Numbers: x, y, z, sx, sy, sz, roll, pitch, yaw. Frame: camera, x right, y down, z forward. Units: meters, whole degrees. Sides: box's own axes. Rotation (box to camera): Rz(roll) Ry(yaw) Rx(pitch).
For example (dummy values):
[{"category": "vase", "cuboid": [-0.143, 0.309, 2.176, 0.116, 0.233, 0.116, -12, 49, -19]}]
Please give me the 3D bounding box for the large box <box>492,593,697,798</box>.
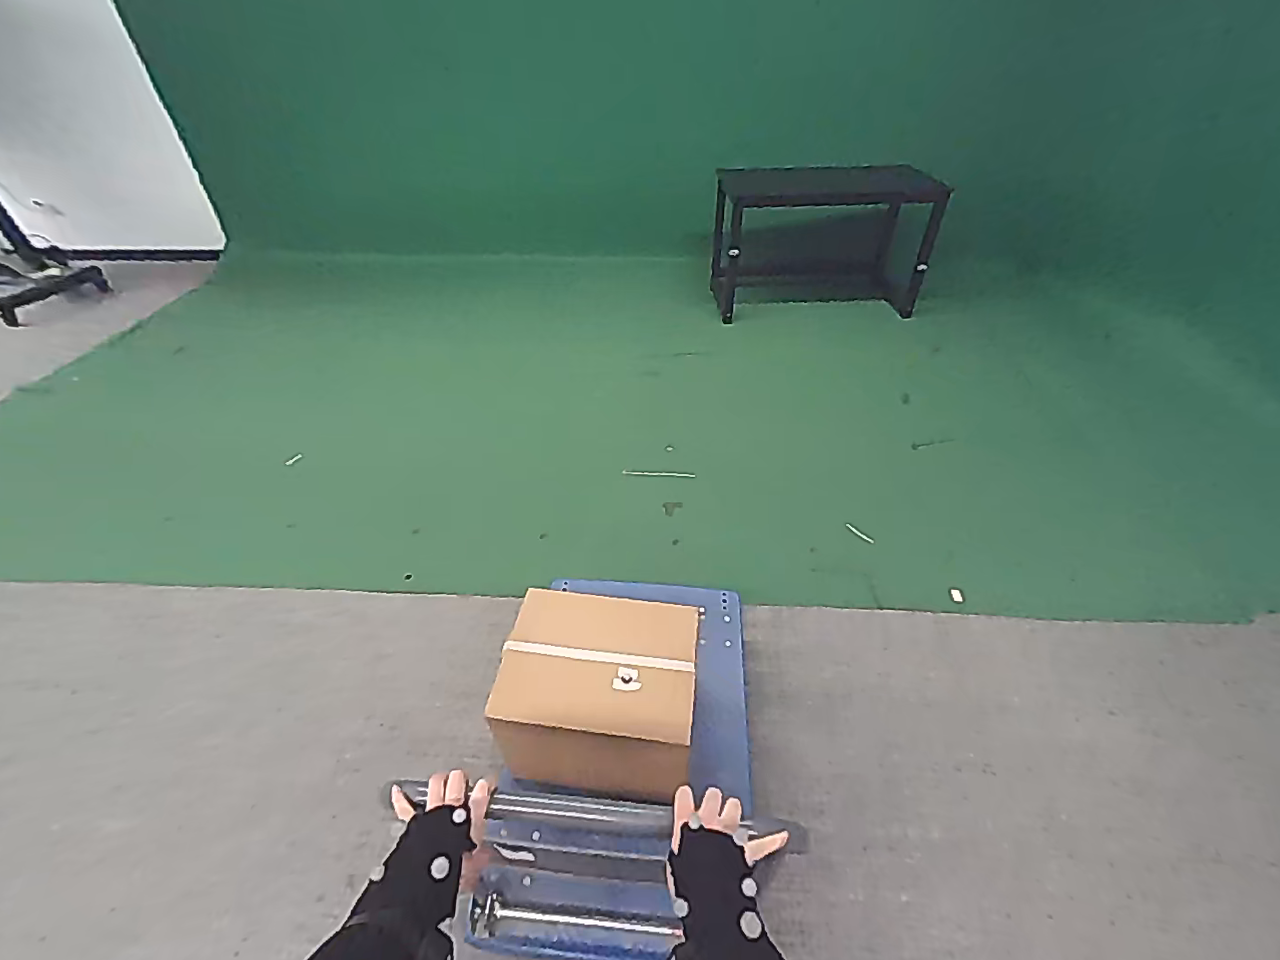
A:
[{"category": "large box", "cuboid": [-0.085, 0.497, 1.257, 0.408, 0.320, 0.320, 6, 42, 5]}]
